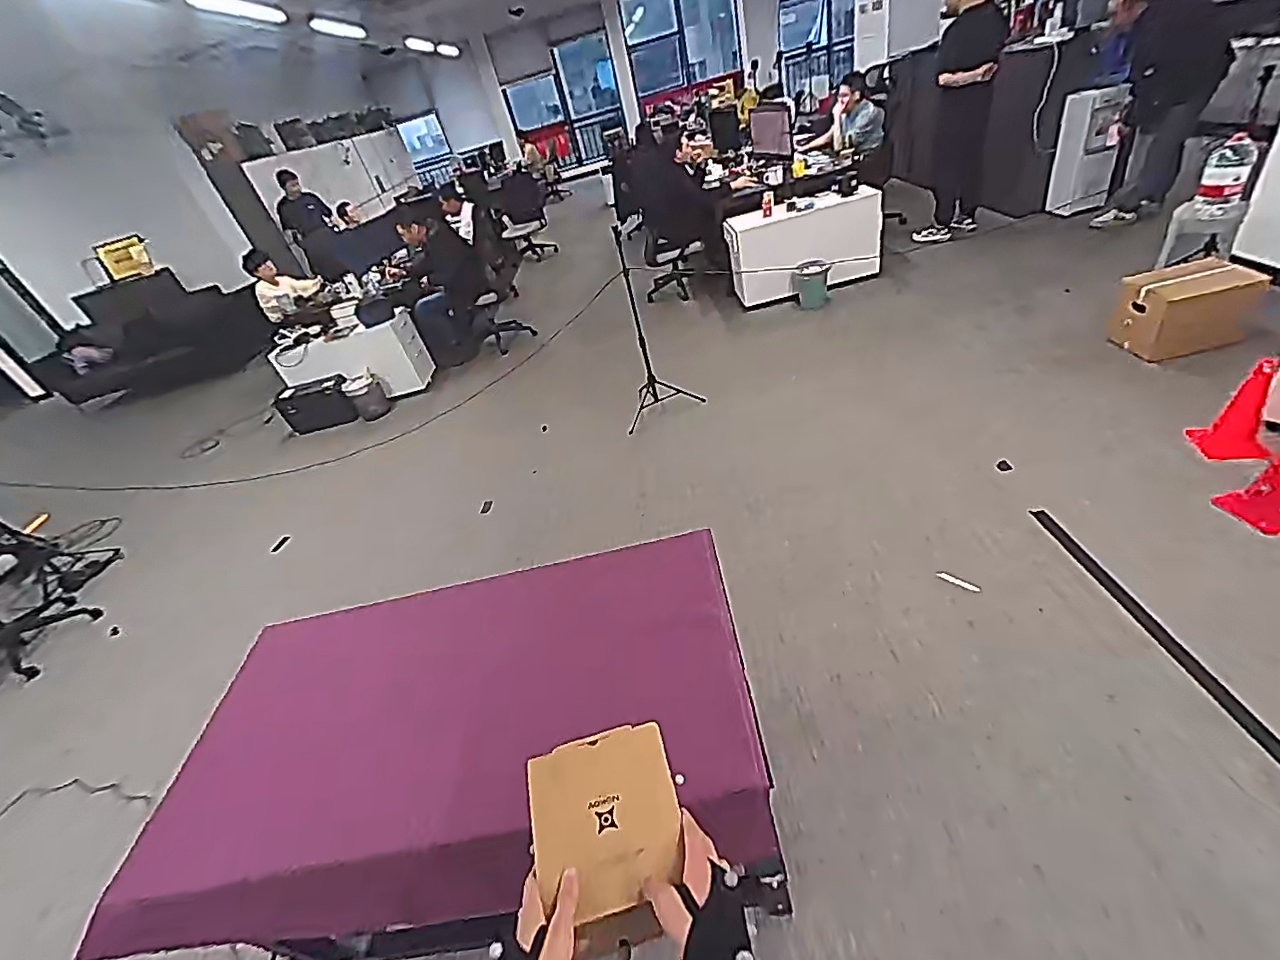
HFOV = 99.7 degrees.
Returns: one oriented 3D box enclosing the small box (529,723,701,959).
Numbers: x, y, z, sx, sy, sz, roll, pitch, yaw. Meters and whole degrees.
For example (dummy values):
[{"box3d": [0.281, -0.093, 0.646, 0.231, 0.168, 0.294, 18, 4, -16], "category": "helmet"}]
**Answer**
[{"box3d": [-0.031, 0.433, 0.652, 0.168, 0.176, 0.179, -14, 40, -5], "category": "small box"}]
